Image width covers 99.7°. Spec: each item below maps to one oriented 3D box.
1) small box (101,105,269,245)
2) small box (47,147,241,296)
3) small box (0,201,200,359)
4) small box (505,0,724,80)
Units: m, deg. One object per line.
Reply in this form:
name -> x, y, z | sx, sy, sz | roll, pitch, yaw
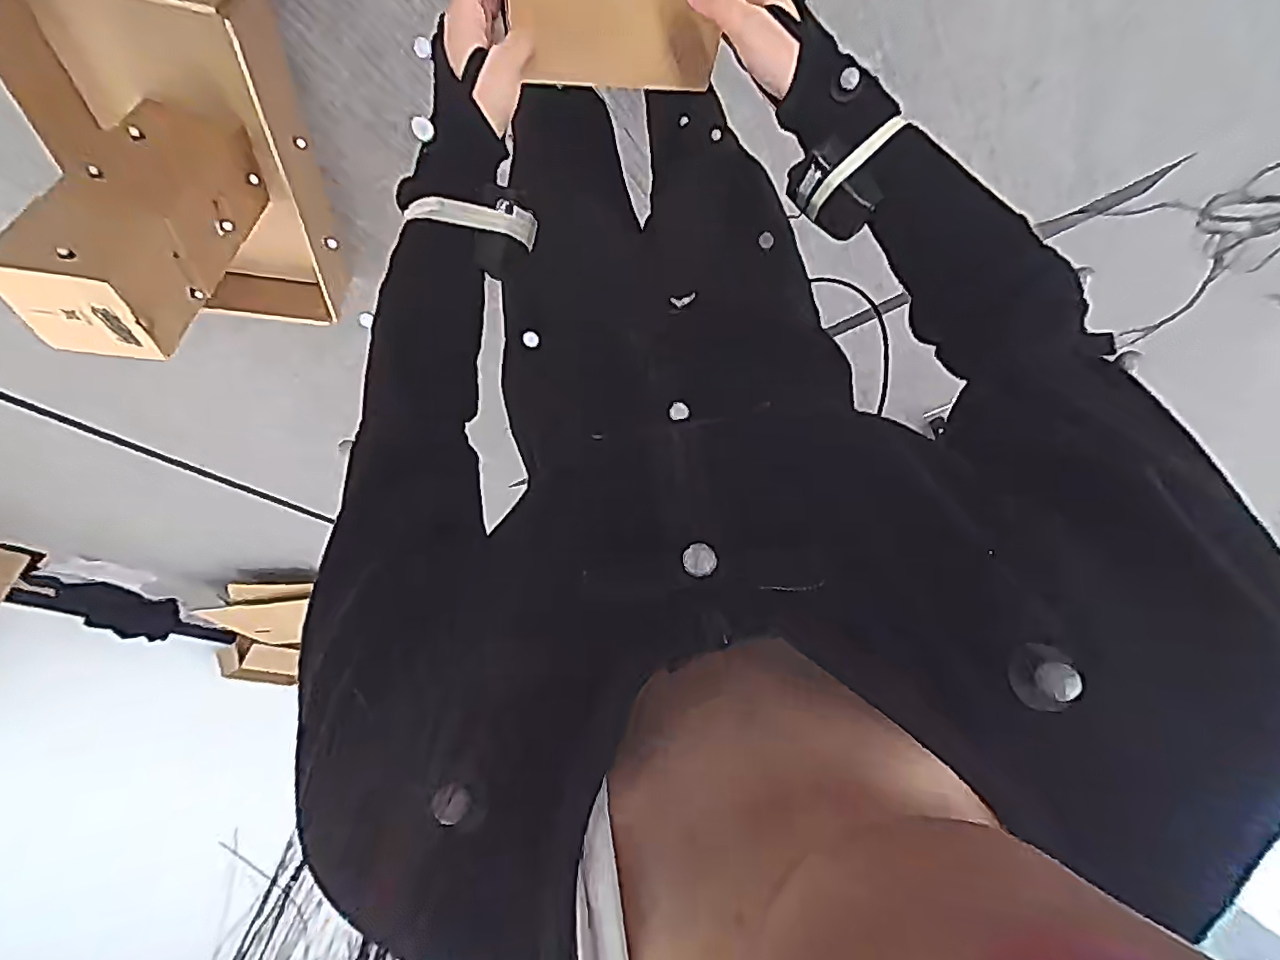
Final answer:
small box -> -0.872, -0.598, 1.060 | 0.179, 0.176, 0.168 | 6, 147, -13
small box -> -0.867, -0.463, 0.970 | 0.179, 0.176, 0.168 | 5, 147, -12
small box -> -0.867, -0.325, 0.881 | 0.179, 0.176, 0.168 | 6, 147, -10
small box -> -0.020, -0.443, 0.396 | 0.168, 0.176, 0.179 | -4, 160, -10
